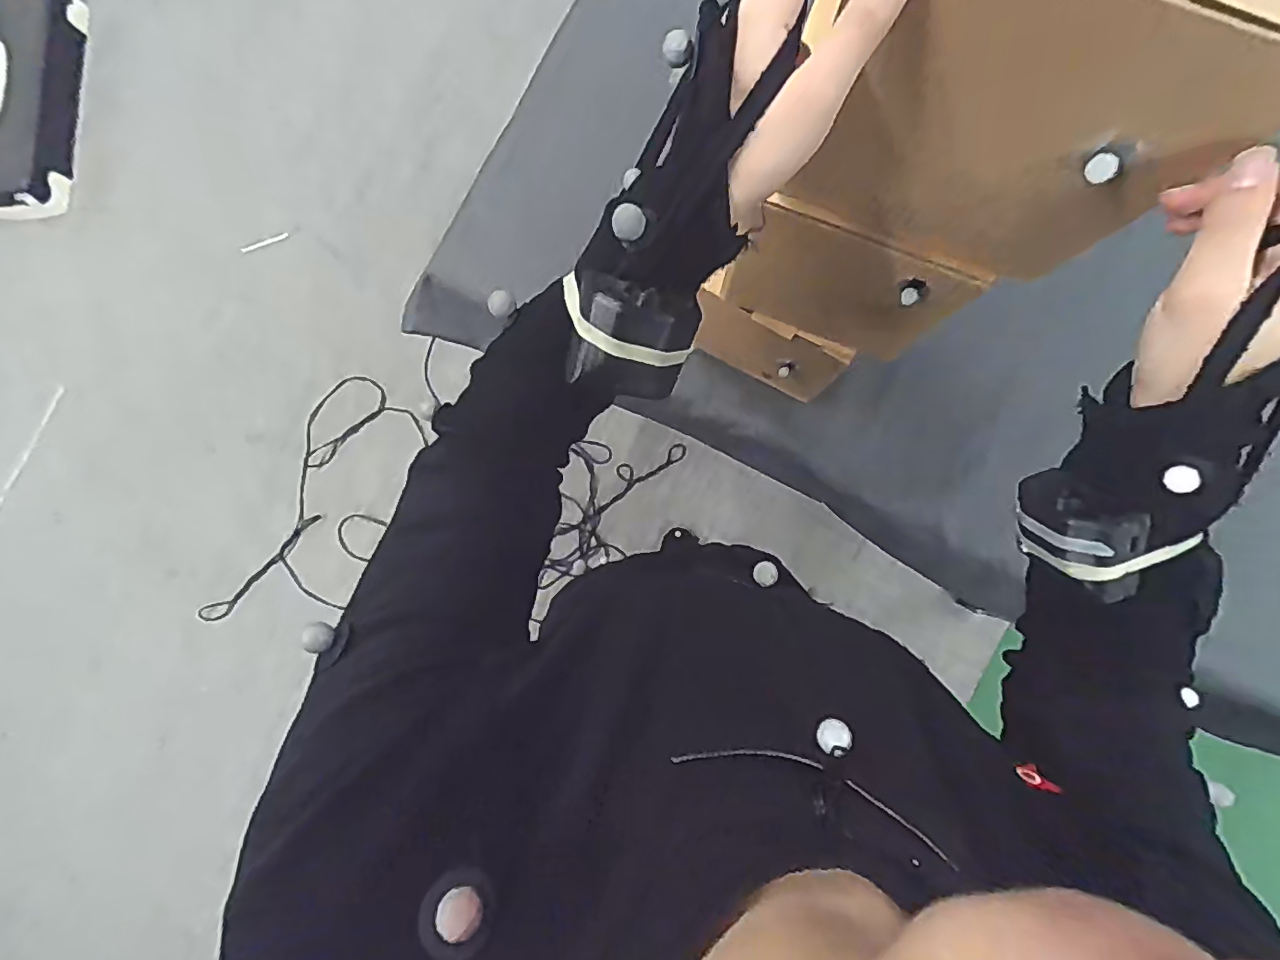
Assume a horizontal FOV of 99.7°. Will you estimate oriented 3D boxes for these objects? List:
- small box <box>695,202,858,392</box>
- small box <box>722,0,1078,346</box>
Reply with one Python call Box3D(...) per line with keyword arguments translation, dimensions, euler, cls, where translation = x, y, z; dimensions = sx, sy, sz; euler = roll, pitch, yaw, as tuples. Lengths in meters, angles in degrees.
Box3D(translation=(0.169, -0.219, 0.592), dimensions=(0.168, 0.176, 0.179), euler=(28, 86, 4), cls="small box")
Box3D(translation=(0.177, -0.227, 0.430), dimensions=(0.179, 0.176, 0.168), euler=(21, 87, 3), cls="small box")
